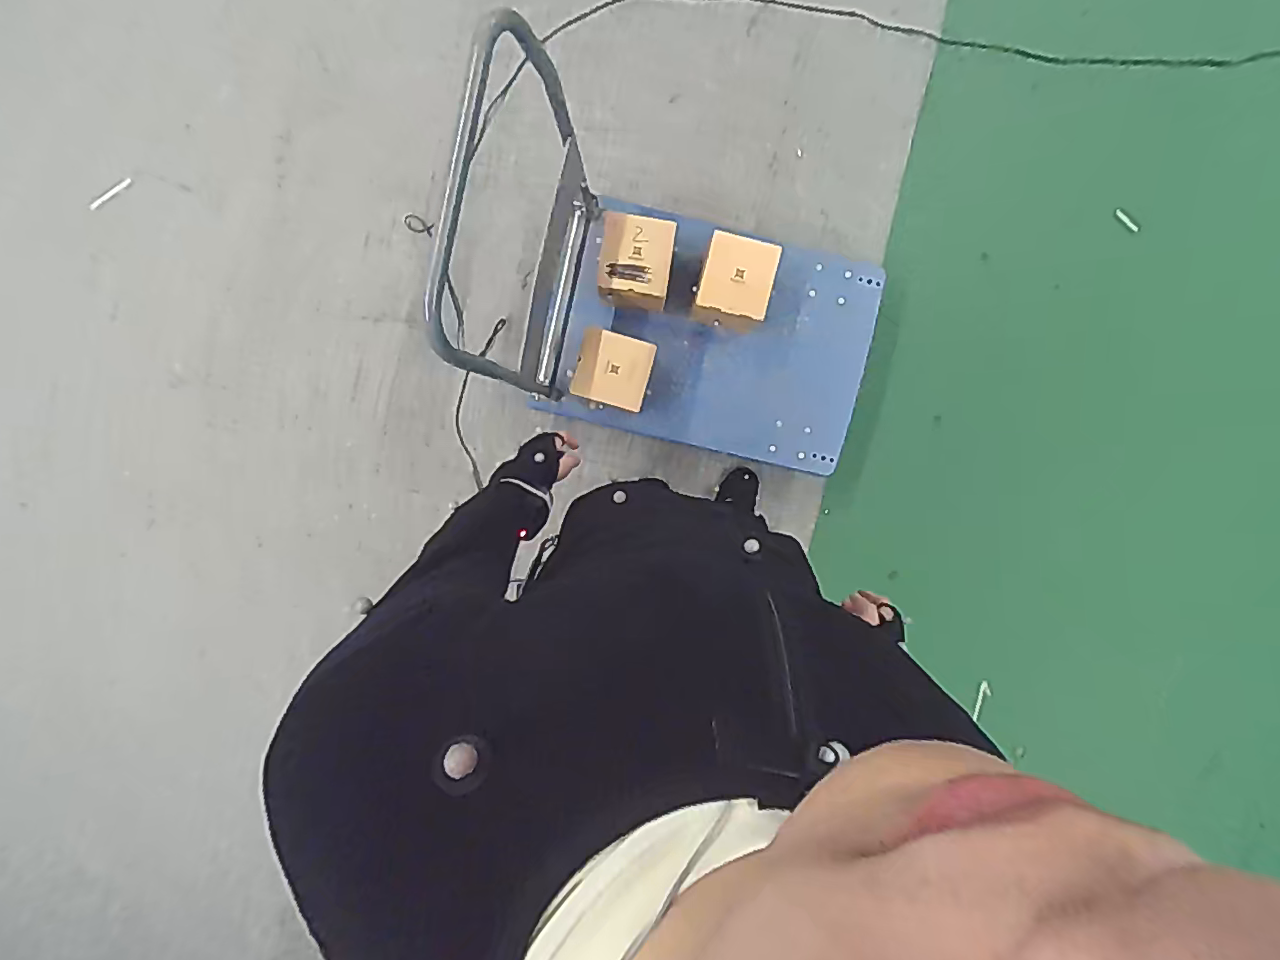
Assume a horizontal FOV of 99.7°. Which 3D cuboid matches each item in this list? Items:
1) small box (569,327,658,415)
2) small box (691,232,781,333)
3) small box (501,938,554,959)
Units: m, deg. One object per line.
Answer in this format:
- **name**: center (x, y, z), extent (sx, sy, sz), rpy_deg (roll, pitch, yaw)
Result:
- **small box**: center (-0.065, -0.263, 1.350), extent (0.179, 0.176, 0.168), rpy_deg (16, 94, -3)
- **small box**: center (0.230, -0.481, 1.341), extent (0.168, 0.176, 0.179), rpy_deg (13, 95, -2)
- **small box**: center (-0.374, 1.593, 1.685), extent (0.168, 0.176, 0.179), rpy_deg (18, 95, -2)
